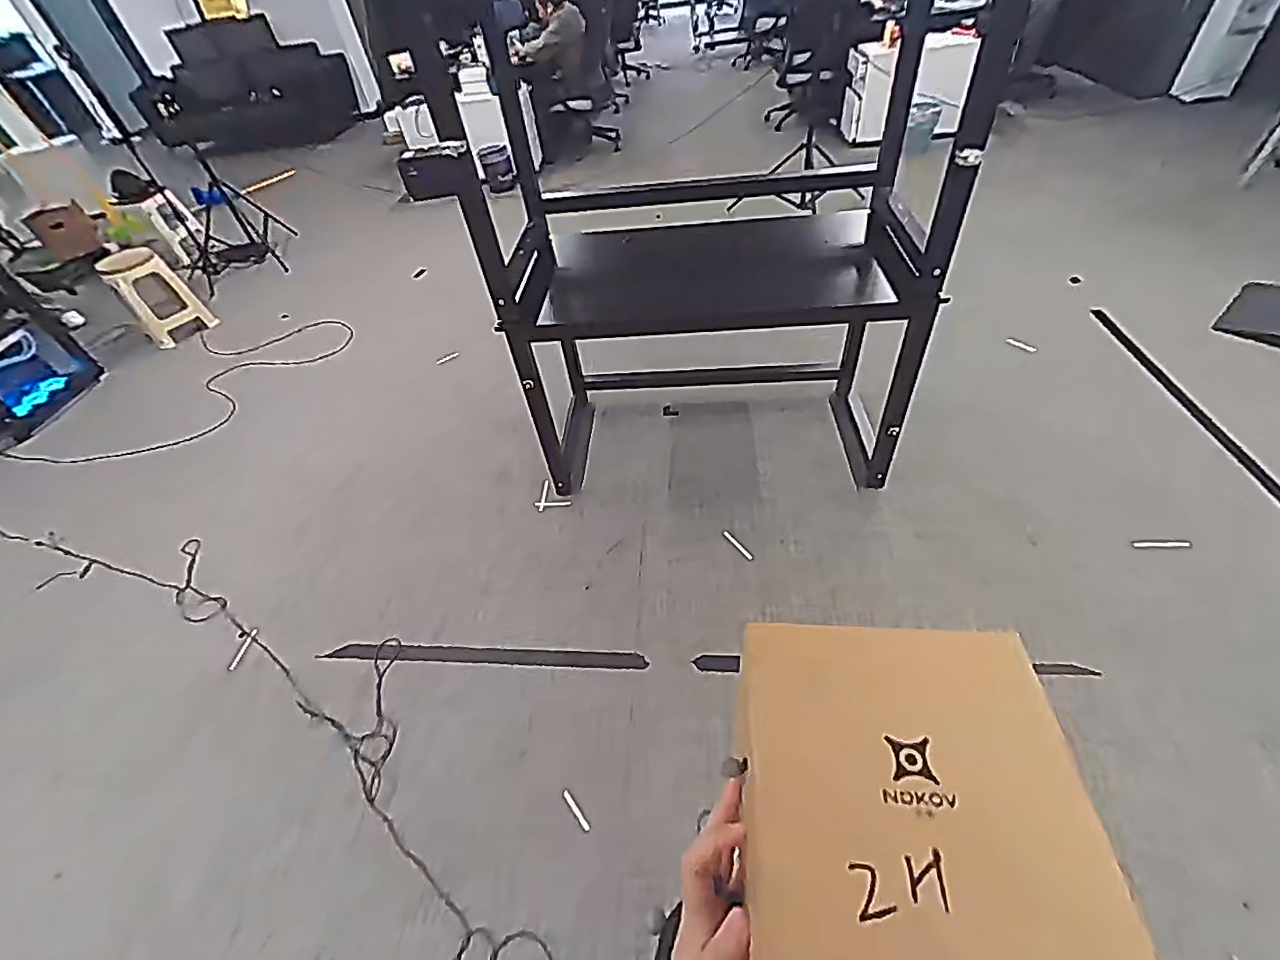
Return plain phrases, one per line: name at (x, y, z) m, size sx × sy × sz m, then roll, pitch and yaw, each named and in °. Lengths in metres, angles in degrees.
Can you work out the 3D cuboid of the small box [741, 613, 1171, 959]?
small box at (0.152, 0.206, 0.337) m, size 0.168 × 0.176 × 0.179 m, roll 0°, pitch 45°, yaw 8°
